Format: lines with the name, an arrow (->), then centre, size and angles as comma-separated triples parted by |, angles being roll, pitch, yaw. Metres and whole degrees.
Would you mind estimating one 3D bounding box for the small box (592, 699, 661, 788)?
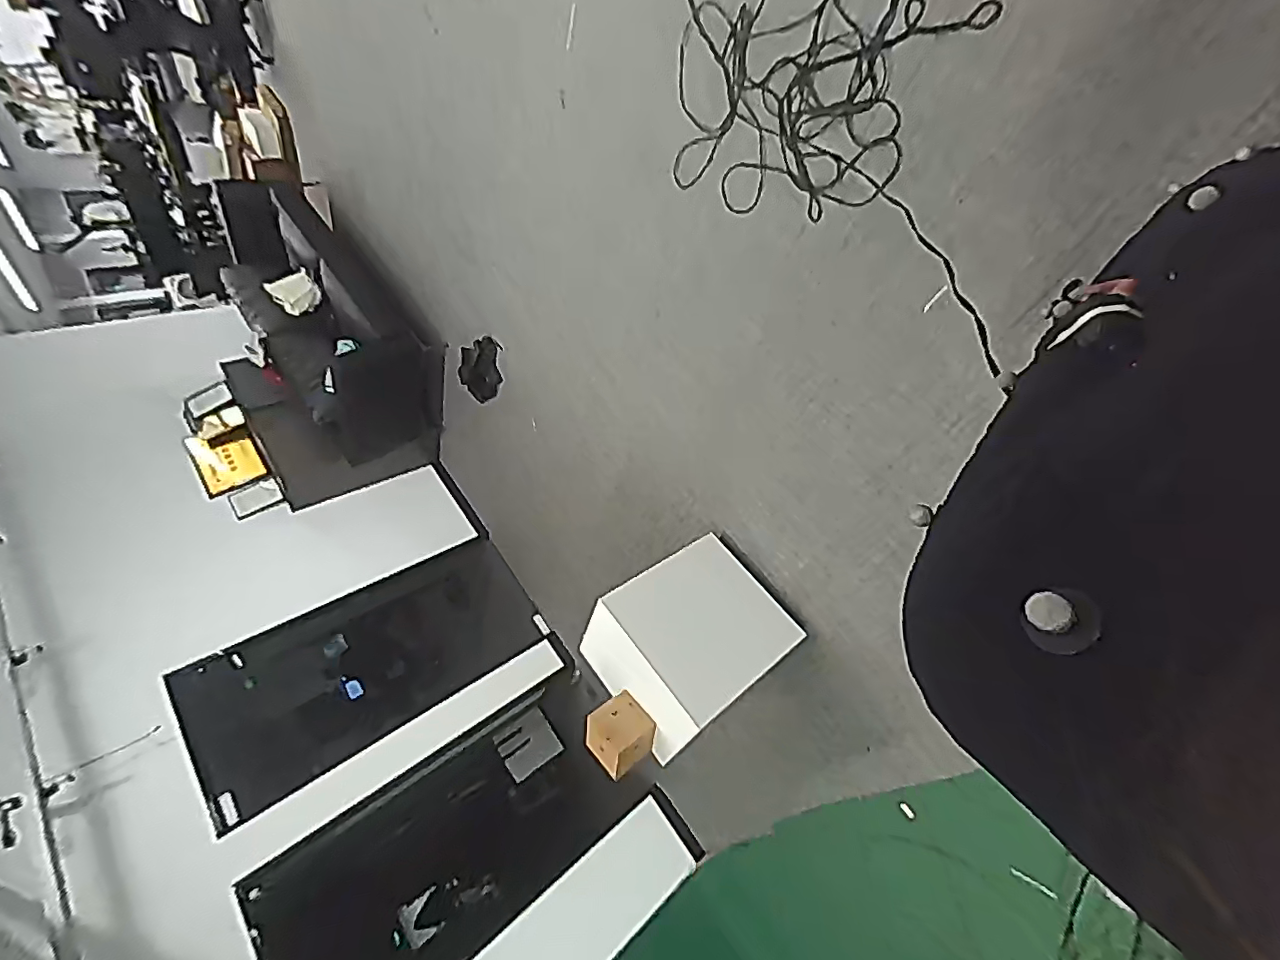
small box -> -0.045, 0.881, 1.824 | 0.168, 0.176, 0.179 | 36, 136, 37
